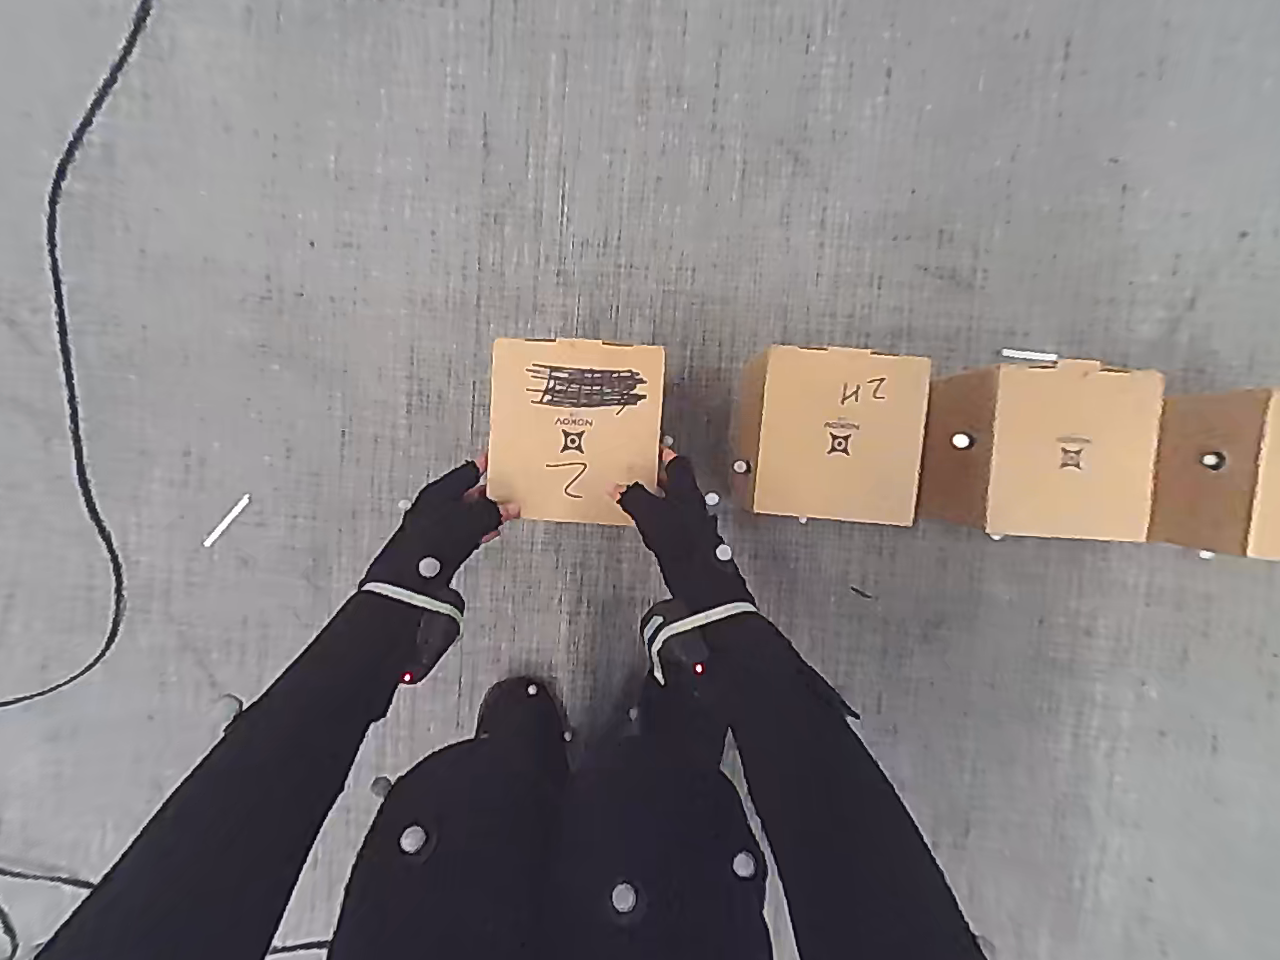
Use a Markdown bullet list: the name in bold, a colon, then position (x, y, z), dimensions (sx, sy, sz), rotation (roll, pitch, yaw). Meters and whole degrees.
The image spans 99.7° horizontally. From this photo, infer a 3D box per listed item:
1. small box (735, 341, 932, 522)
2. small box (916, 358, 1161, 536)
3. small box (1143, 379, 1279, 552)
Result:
- **small box**: position (0.208, -0.053, 0.630), dimensions (0.168, 0.176, 0.179), rotation (4, 93, 1)
- **small box**: position (0.439, -0.038, 0.629), dimensions (0.168, 0.176, 0.179), rotation (2, 93, 1)
- **small box**: position (0.702, -0.014, 0.625), dimensions (0.168, 0.176, 0.179), rotation (3, 94, 1)
